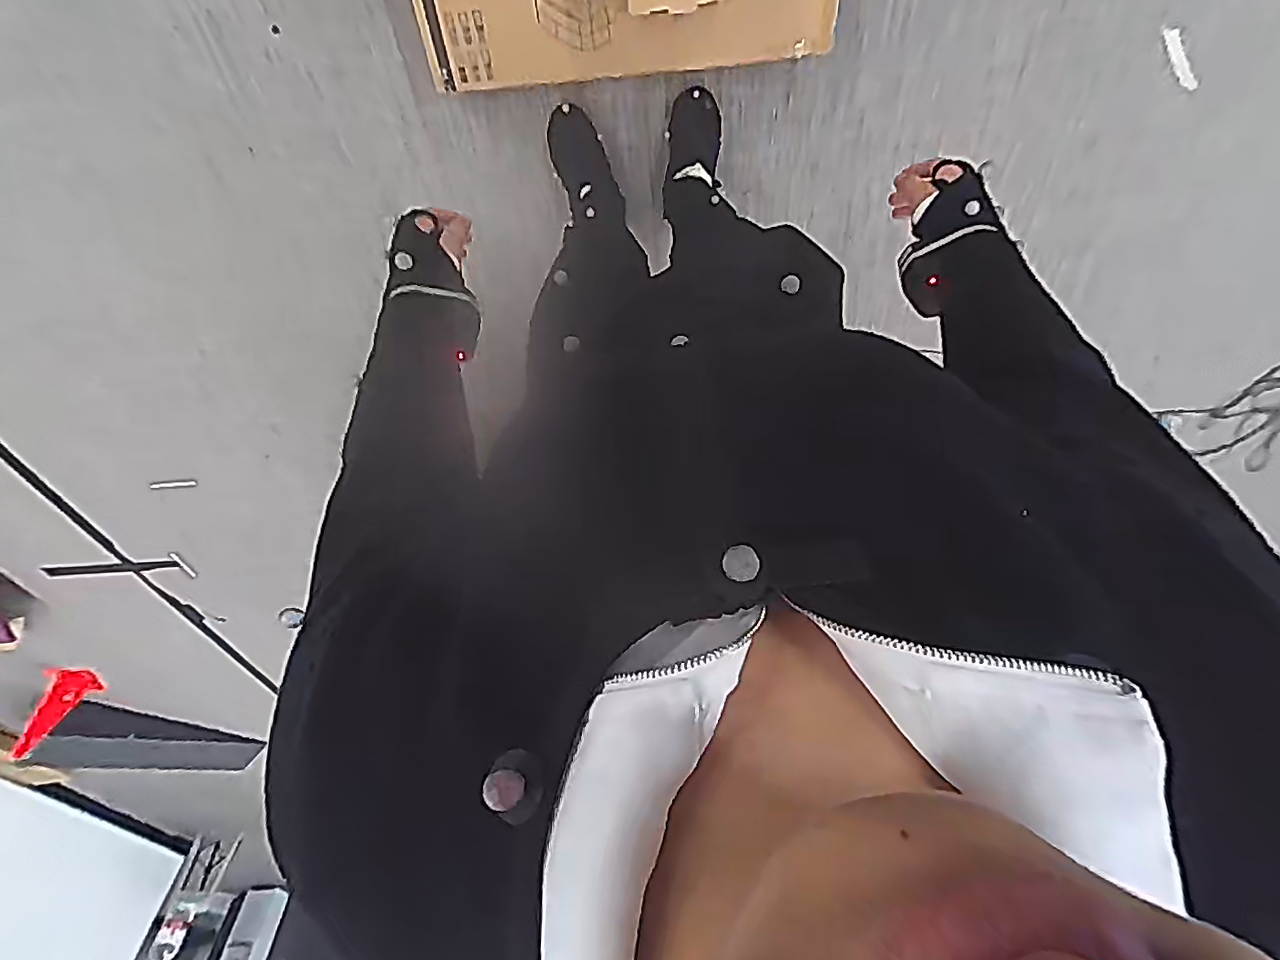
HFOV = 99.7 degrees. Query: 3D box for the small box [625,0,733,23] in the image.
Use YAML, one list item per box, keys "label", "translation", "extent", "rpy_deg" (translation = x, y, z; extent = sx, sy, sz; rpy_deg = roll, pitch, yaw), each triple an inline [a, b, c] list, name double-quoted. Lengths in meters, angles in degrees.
- label: "small box"
  translation: [0.050, -0.828, 0.825]
  extent: [0.168, 0.176, 0.179]
  rpy_deg: [-7, 132, 3]
